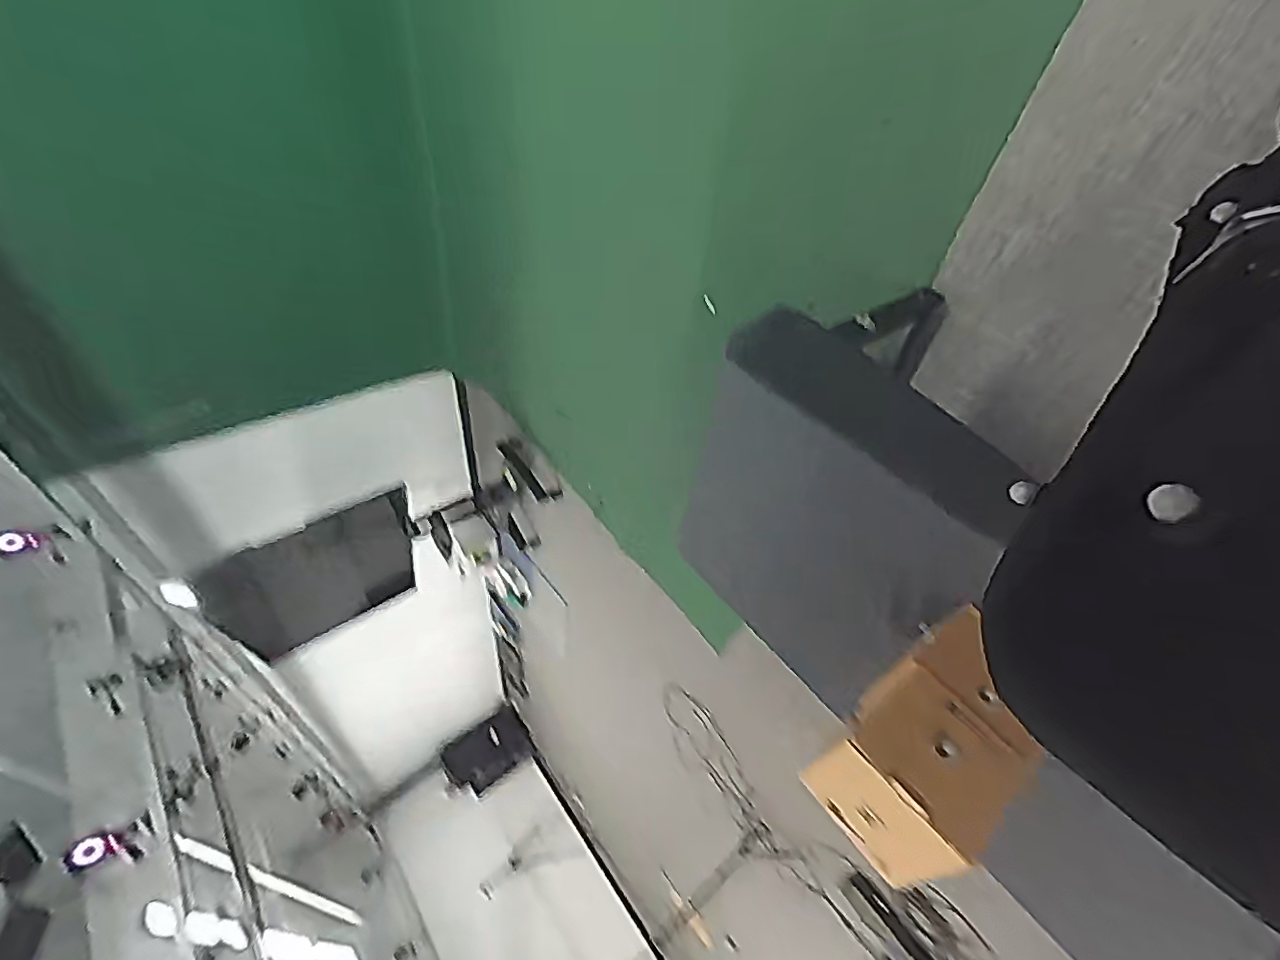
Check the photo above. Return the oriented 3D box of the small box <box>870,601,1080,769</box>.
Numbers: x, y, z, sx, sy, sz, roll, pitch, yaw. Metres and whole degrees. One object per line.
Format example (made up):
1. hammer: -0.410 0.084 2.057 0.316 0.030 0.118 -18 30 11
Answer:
1. small box: 0.491 0.315 0.800 0.179 0.176 0.168 46 145 29

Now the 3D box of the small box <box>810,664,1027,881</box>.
1. small box: 0.366 0.378 0.715 0.168 0.176 0.179 46 145 28
